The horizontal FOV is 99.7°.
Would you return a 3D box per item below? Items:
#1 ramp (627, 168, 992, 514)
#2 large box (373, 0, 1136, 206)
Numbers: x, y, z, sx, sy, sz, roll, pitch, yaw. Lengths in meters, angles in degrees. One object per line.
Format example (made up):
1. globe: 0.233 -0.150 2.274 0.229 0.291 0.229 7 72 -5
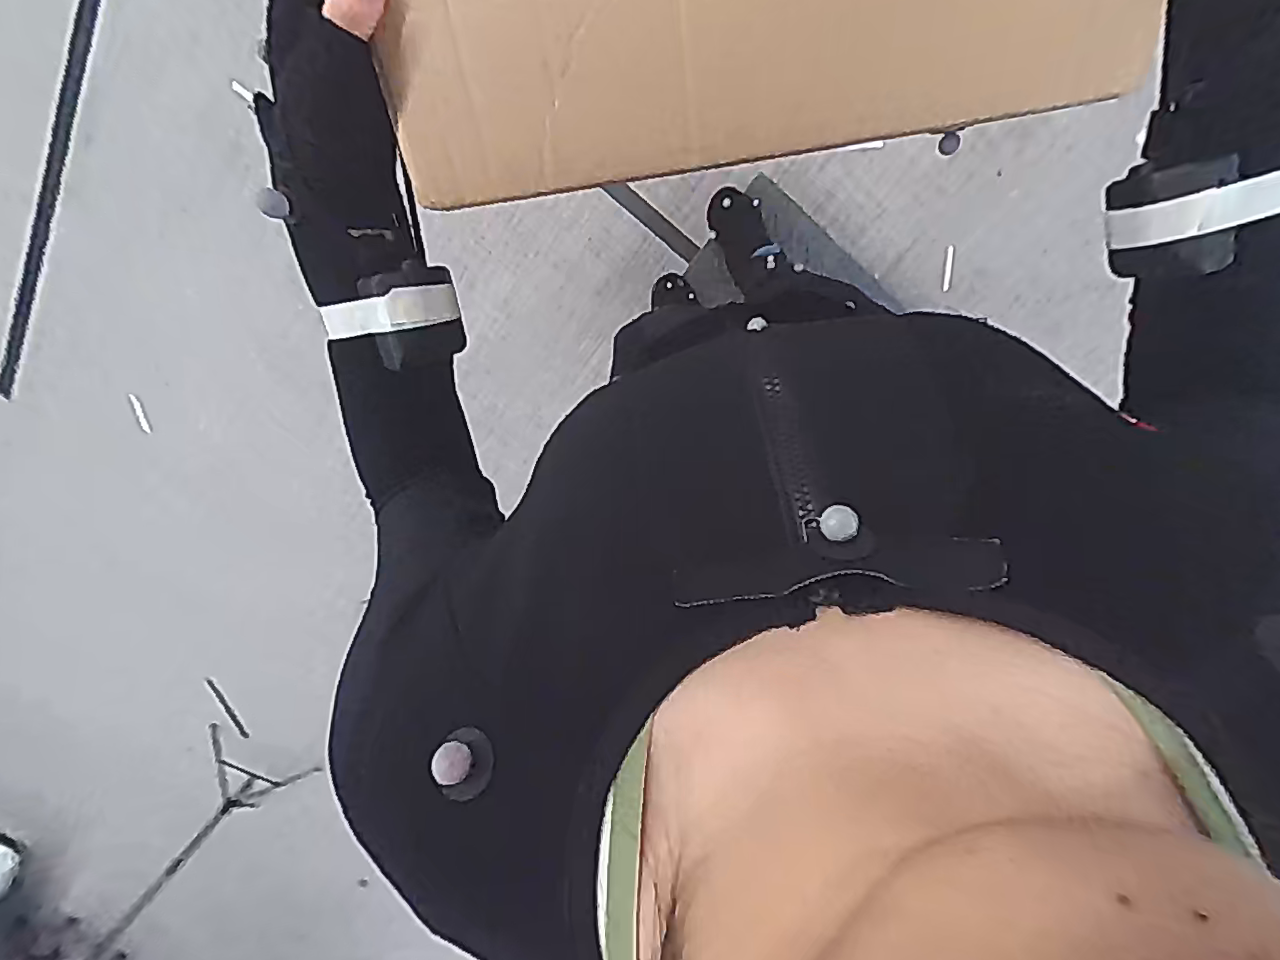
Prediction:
1. ramp: 0.499 -0.305 1.492 0.991 0.206 0.509 34 111 -11
2. large box: 0.053 -0.399 0.369 0.408 0.320 0.320 -6 120 5
